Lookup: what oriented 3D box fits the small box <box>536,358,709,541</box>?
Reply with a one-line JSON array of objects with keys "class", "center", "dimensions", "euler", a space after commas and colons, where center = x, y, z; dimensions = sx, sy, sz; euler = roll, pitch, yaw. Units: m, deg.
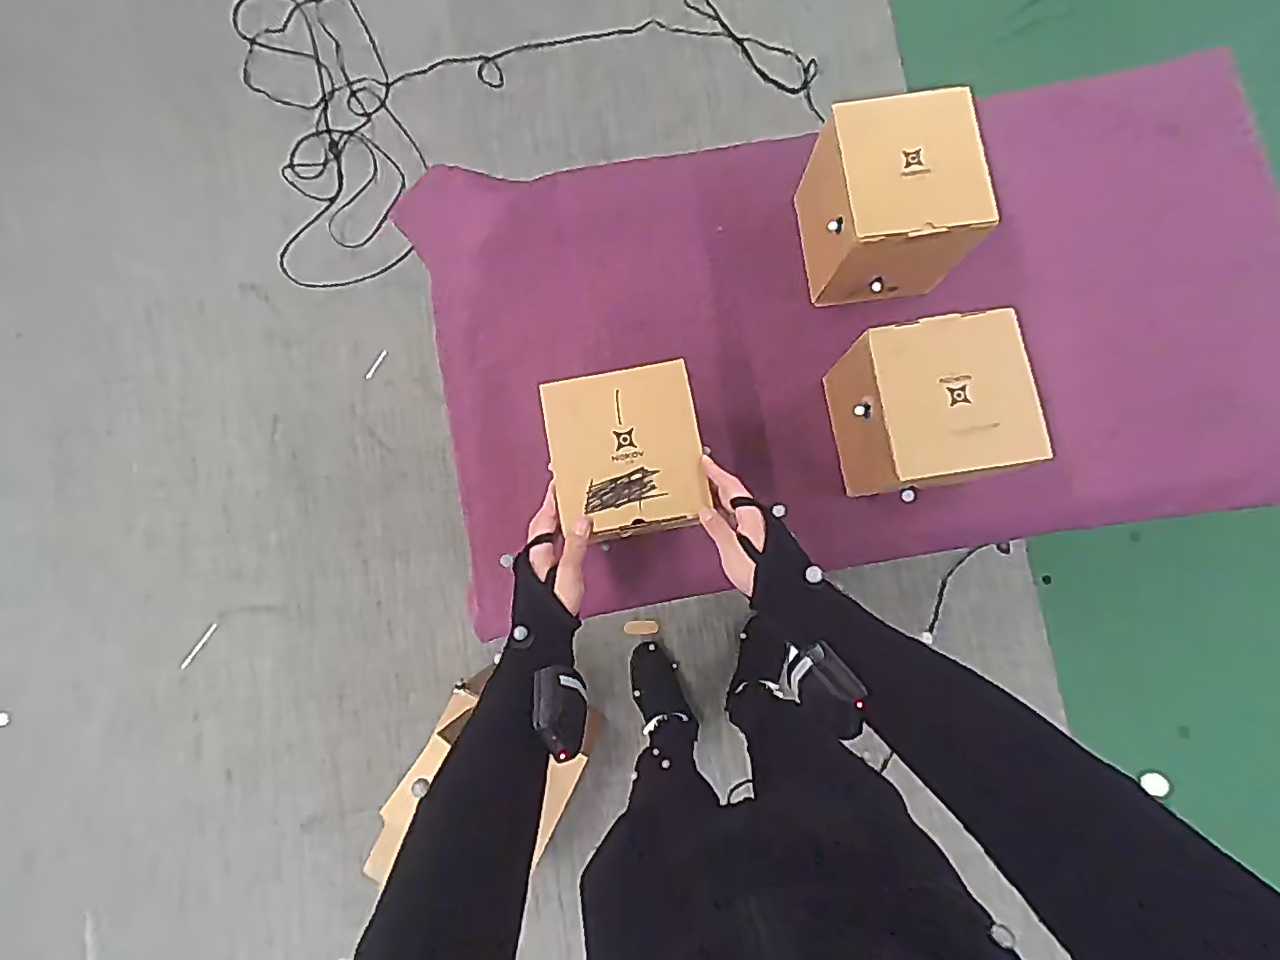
[{"class": "small box", "center": [-0.017, -0.024, 0.655], "dimensions": [0.168, 0.176, 0.179], "euler": [-10, 81, 0]}]

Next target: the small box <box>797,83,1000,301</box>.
[{"class": "small box", "center": [0.312, -0.354, 0.691], "dimensions": [0.168, 0.176, 0.179], "euler": [-7, 83, 0]}]

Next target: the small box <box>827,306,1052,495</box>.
[{"class": "small box", "center": [0.340, -0.084, 0.653], "dimensions": [0.168, 0.176, 0.179], "euler": [-7, 82, 1]}]
